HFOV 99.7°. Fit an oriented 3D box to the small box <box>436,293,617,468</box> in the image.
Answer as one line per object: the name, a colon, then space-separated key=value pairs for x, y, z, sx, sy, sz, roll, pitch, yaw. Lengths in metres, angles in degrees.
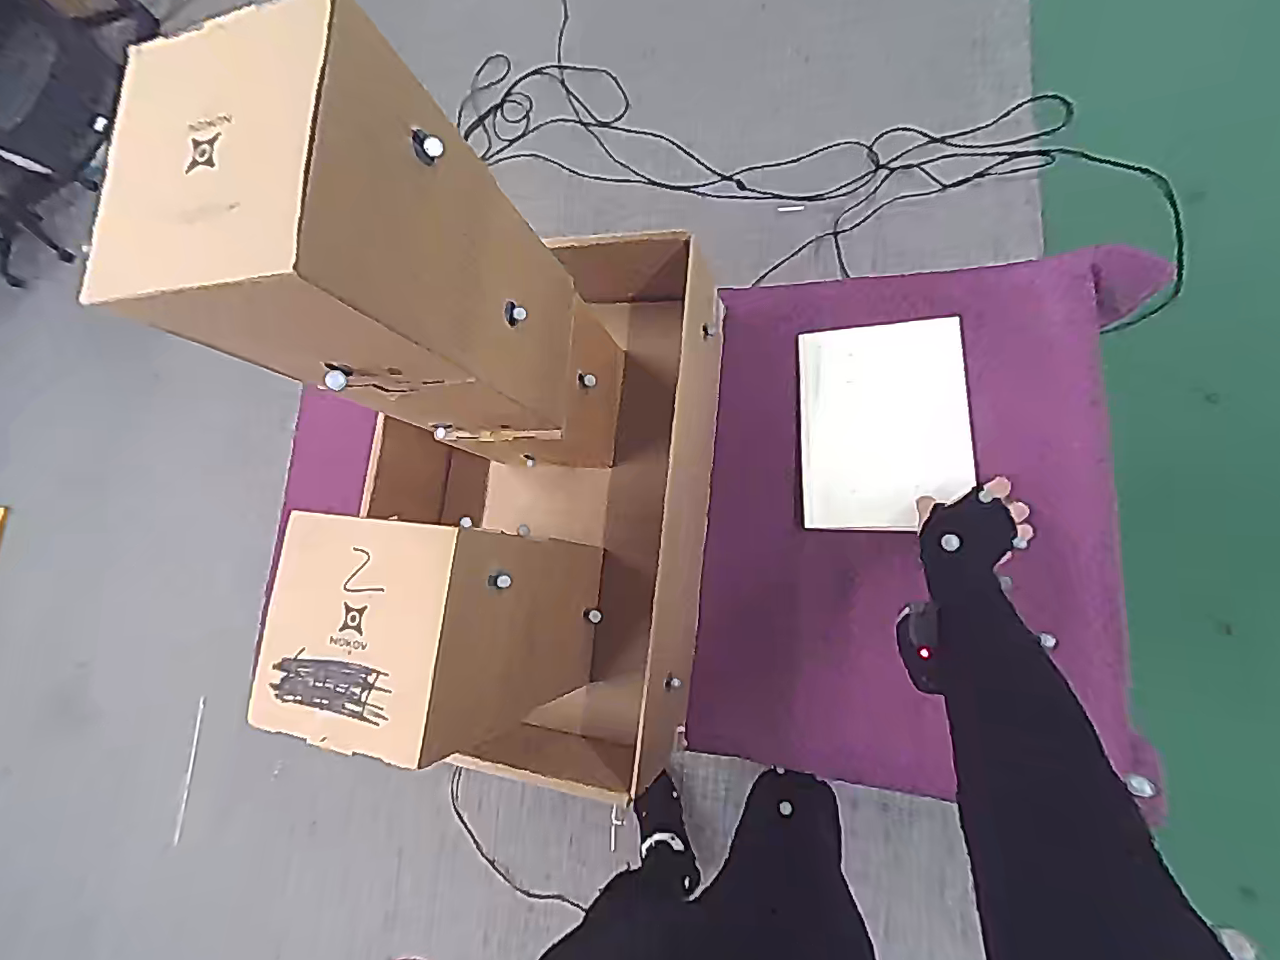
small box: x=-0.133 y=-0.118 z=0.699 sx=0.168 sy=0.176 sz=0.179 roll=1 pitch=82 yaw=17

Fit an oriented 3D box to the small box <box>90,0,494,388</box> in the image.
small box: x=-0.224 y=-0.178 z=0.390 sx=0.168 sy=0.176 sz=0.179 roll=1 pitch=82 yaw=17

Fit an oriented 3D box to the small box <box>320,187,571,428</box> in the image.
small box: x=-0.179 y=-0.152 z=0.545 sx=0.168 sy=0.176 sz=0.179 roll=0 pitch=80 yaw=16
